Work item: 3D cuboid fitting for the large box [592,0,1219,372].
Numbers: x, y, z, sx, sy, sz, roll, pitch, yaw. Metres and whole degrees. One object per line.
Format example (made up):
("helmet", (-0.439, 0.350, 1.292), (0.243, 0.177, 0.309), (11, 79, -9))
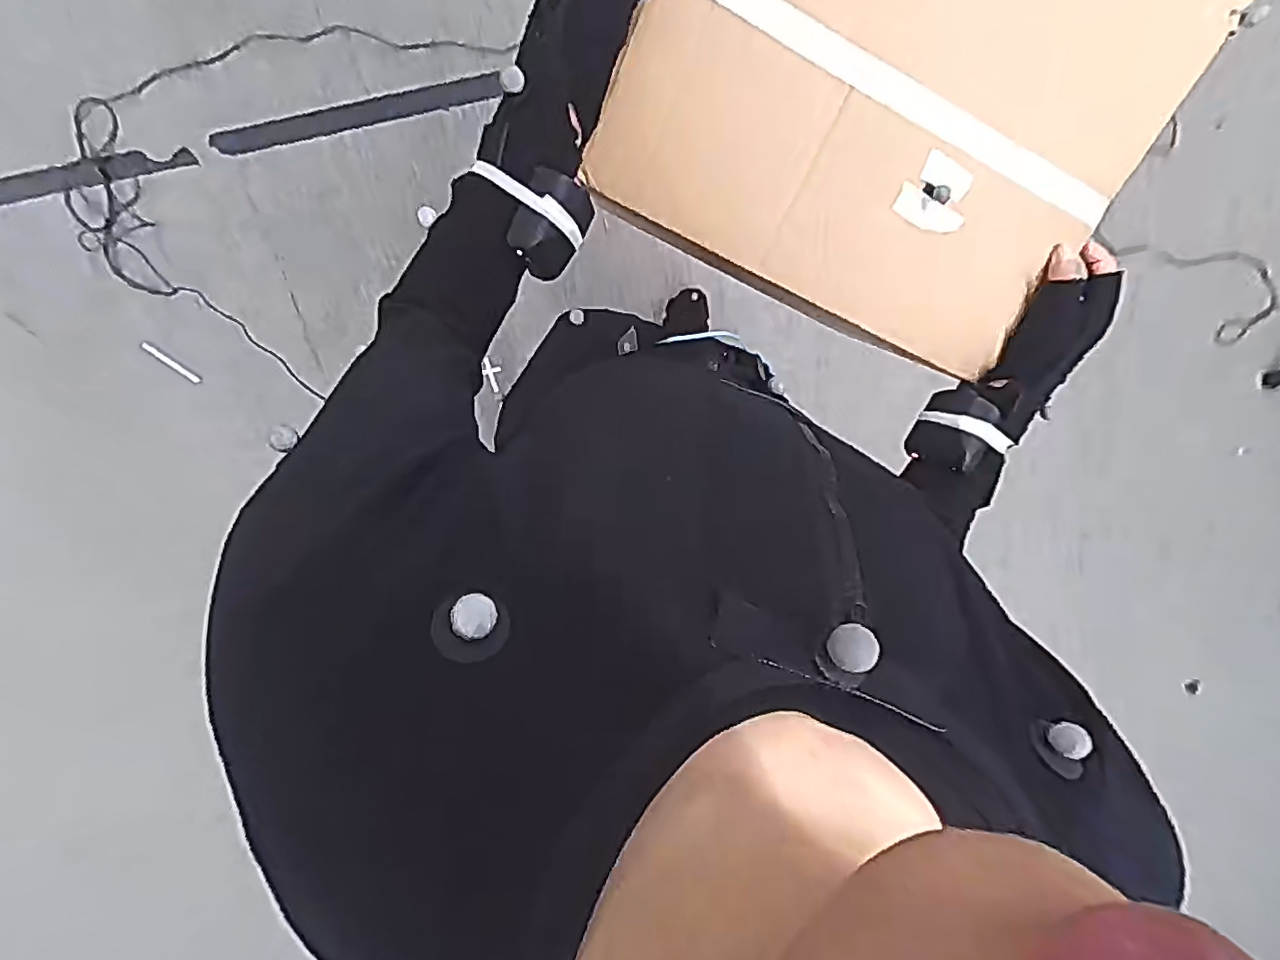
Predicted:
("large box", (0.192, -0.358, 0.559), (0.408, 0.320, 0.320), (22, 112, -12))
